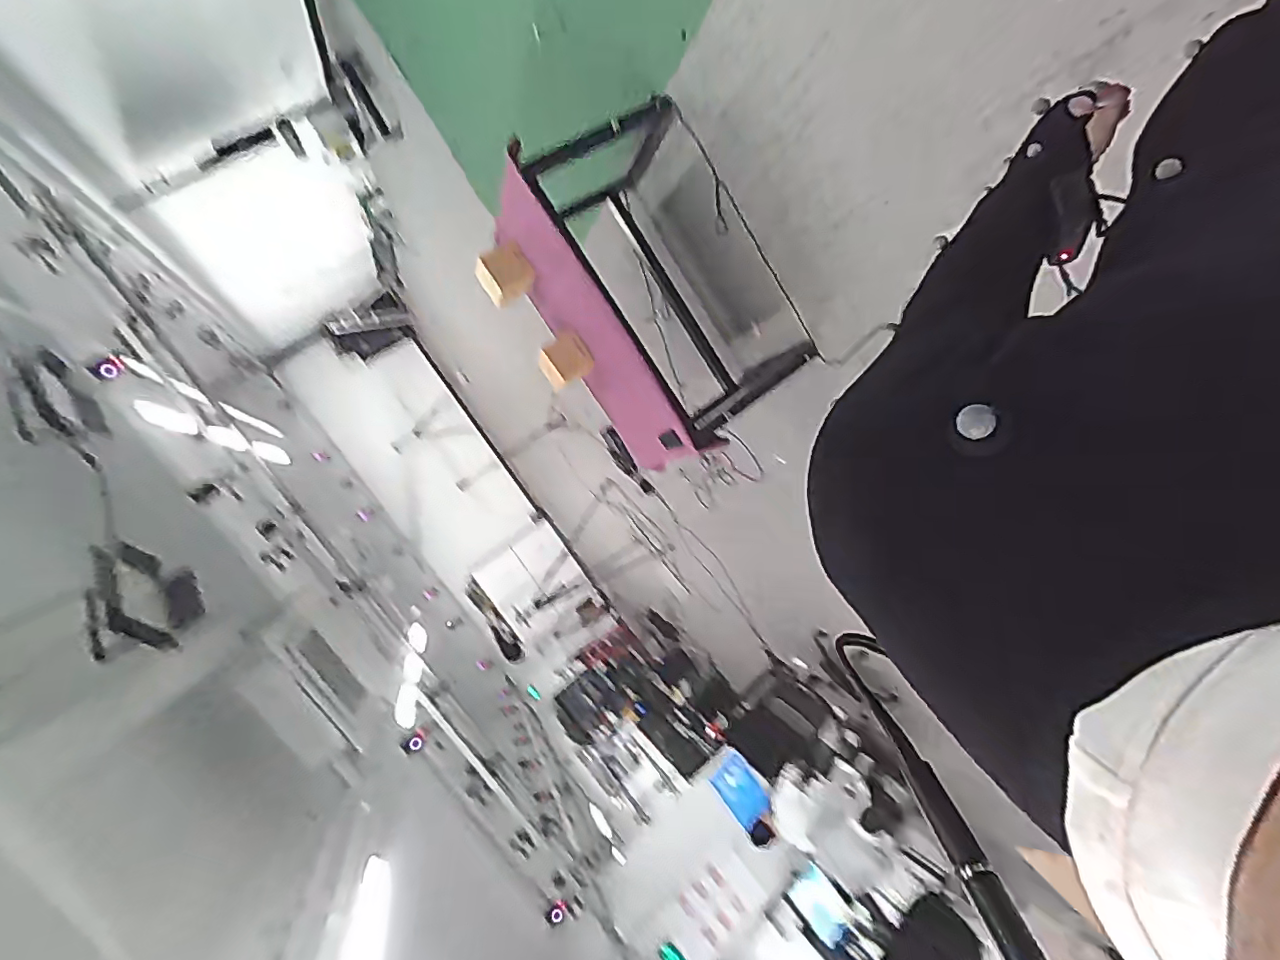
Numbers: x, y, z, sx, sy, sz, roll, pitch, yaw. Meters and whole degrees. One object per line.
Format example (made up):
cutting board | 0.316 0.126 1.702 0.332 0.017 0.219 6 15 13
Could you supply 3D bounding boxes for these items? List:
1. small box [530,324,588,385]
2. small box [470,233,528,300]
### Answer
small box | -0.344 -0.532 2.299 0.168 0.176 0.179 54 161 -7
small box | -0.584 -0.883 2.240 0.168 0.176 0.179 55 162 -8
